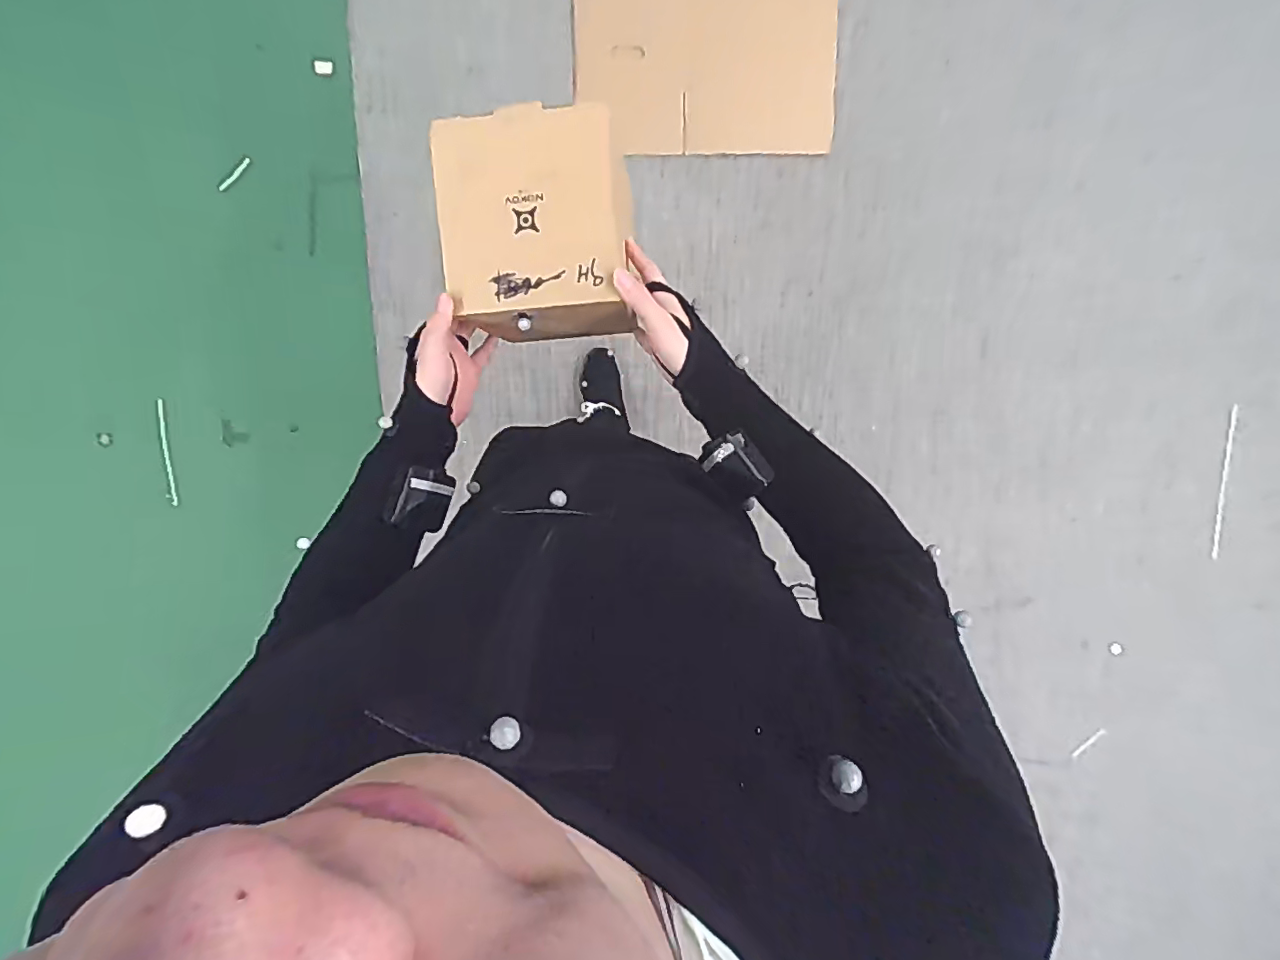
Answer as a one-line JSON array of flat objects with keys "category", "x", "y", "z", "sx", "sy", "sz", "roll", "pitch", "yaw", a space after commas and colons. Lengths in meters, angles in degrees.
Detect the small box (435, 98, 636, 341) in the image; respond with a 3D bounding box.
[{"category": "small box", "x": -0.094, "y": -0.252, "z": 0.564, "sx": 0.168, "sy": 0.176, "sz": 0.179, "roll": -3, "pitch": 95, "yaw": 5}]
